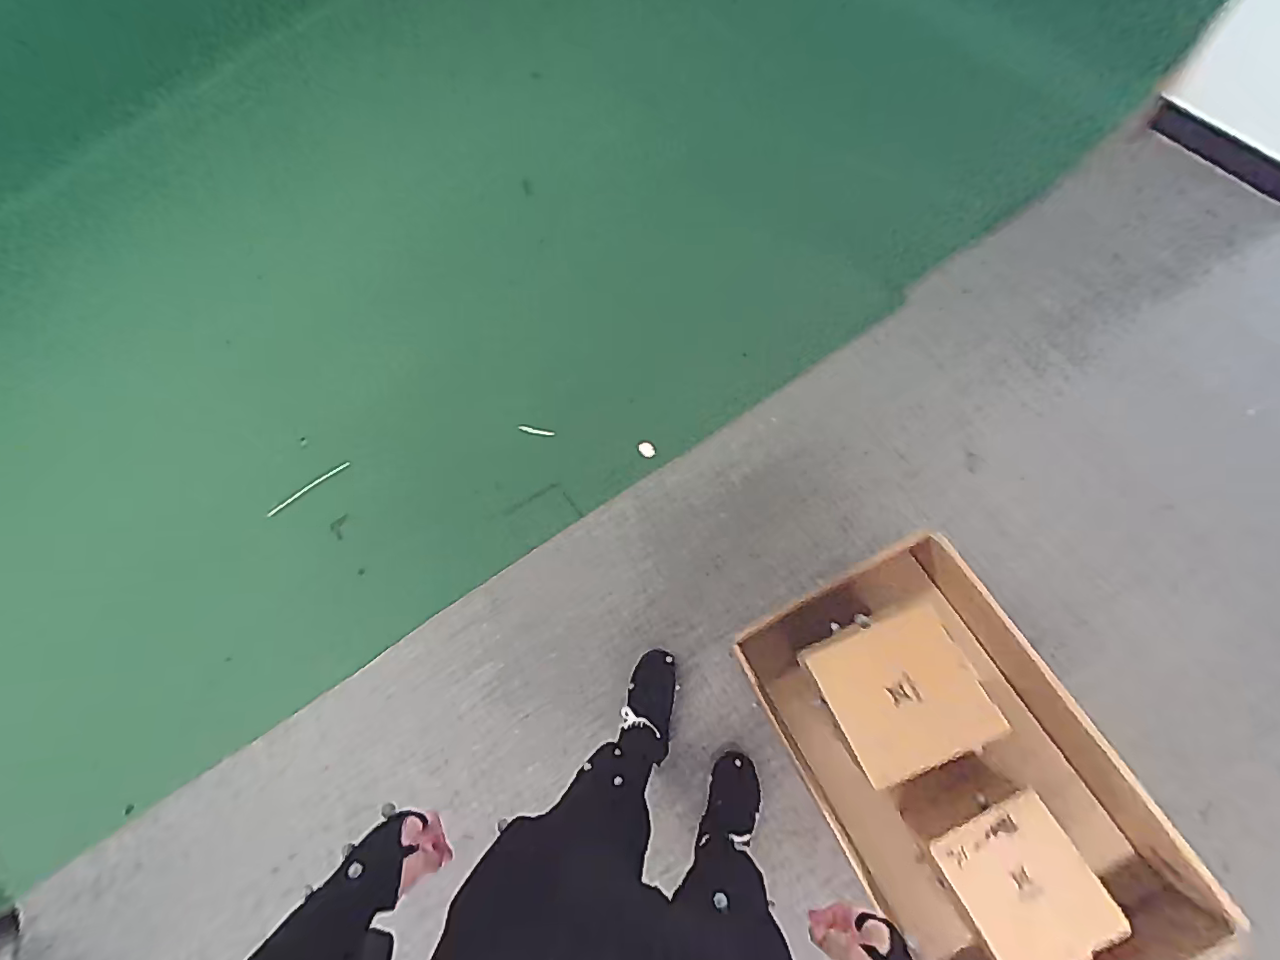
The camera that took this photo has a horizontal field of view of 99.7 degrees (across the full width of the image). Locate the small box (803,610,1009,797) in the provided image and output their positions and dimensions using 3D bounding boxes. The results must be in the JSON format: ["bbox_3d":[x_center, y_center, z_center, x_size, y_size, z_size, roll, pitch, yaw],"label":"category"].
[{"bbox_3d":[0.335,0.295,0.729,0.179,0.176,0.168,-26,67,2],"label":"small box"}]
